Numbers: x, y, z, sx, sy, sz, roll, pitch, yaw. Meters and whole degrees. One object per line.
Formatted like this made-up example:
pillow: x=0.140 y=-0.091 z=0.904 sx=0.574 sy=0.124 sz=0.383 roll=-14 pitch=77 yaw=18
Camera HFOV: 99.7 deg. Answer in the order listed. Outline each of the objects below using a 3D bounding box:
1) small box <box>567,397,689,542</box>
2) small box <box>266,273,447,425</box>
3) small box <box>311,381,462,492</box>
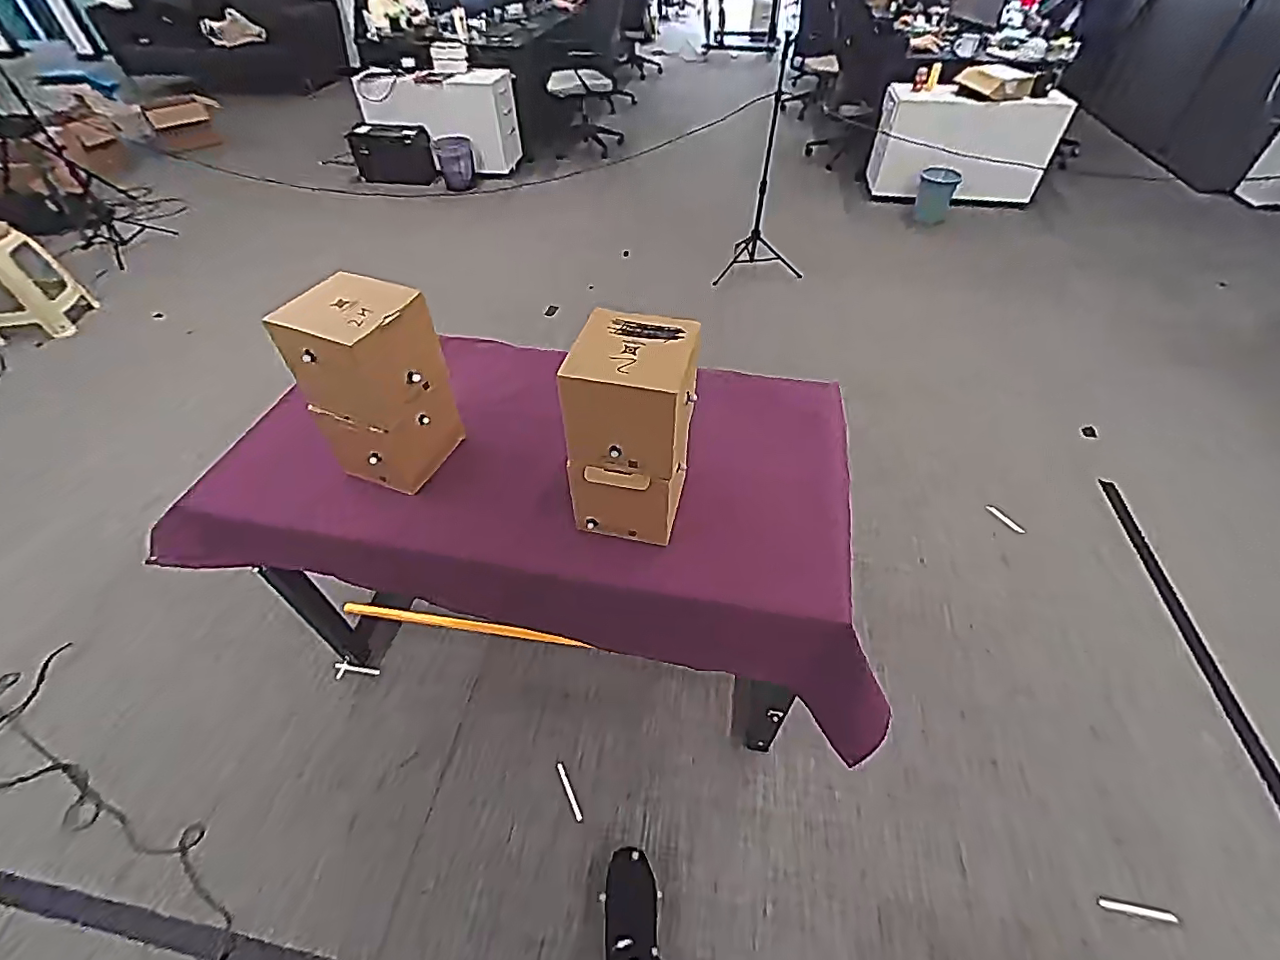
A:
small box: x=-0.014 y=-0.016 z=0.935 sx=0.168 sy=0.176 sz=0.179 roll=10 pitch=47 yaw=9
small box: x=-0.456 y=-0.215 z=0.899 sx=0.179 sy=0.176 sz=0.168 roll=18 pitch=51 yaw=15
small box: x=-0.462 y=-0.104 z=1.020 sx=0.168 sy=0.176 sz=0.179 roll=17 pitch=50 yaw=14
